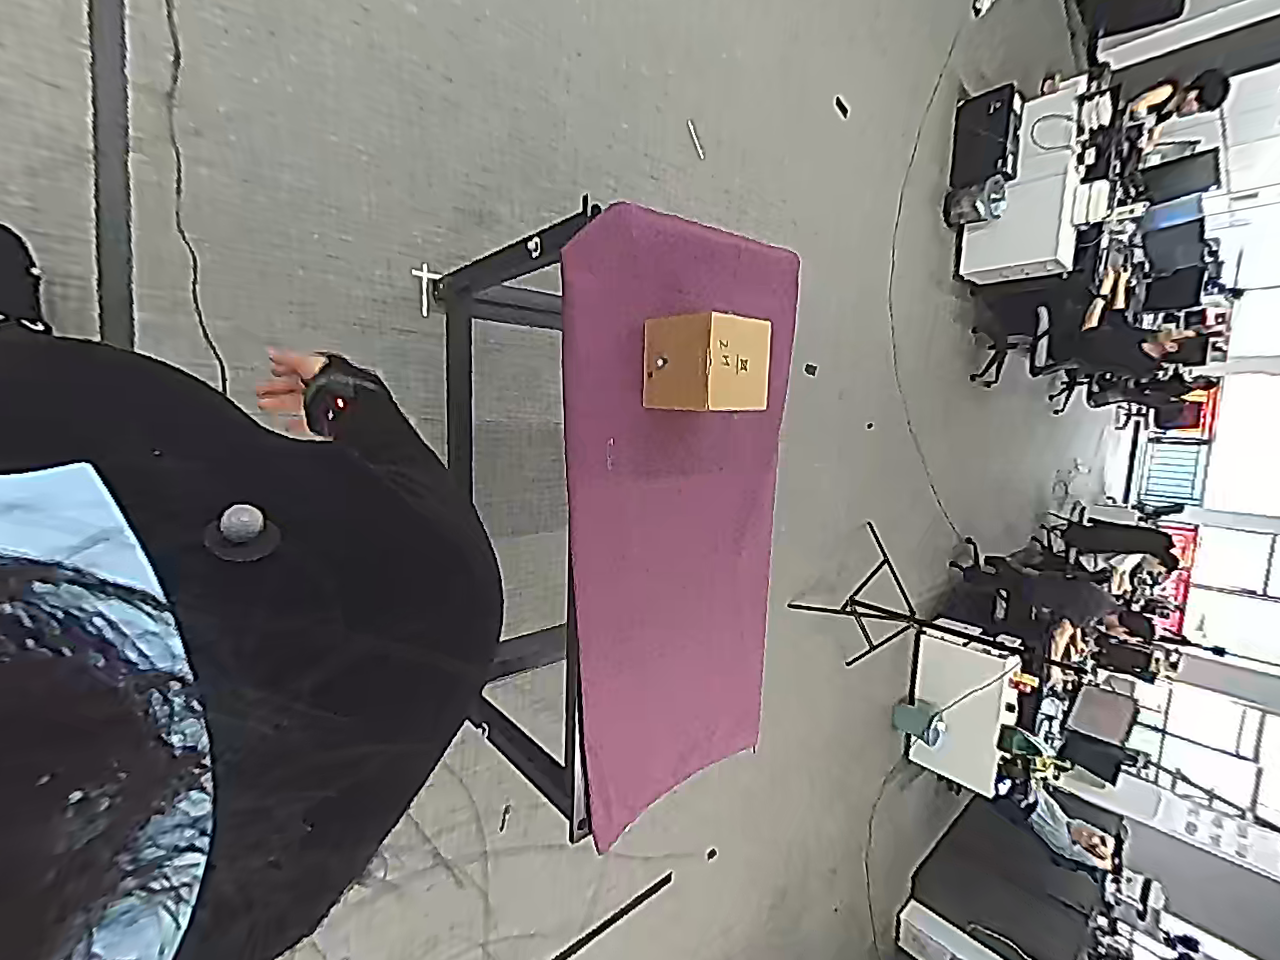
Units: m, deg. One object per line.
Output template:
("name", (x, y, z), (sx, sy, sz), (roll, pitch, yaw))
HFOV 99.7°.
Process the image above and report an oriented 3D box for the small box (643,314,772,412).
("small box", (0.128, -0.216, 1.032), (0.179, 0.176, 0.168), (-6, 102, -41))
